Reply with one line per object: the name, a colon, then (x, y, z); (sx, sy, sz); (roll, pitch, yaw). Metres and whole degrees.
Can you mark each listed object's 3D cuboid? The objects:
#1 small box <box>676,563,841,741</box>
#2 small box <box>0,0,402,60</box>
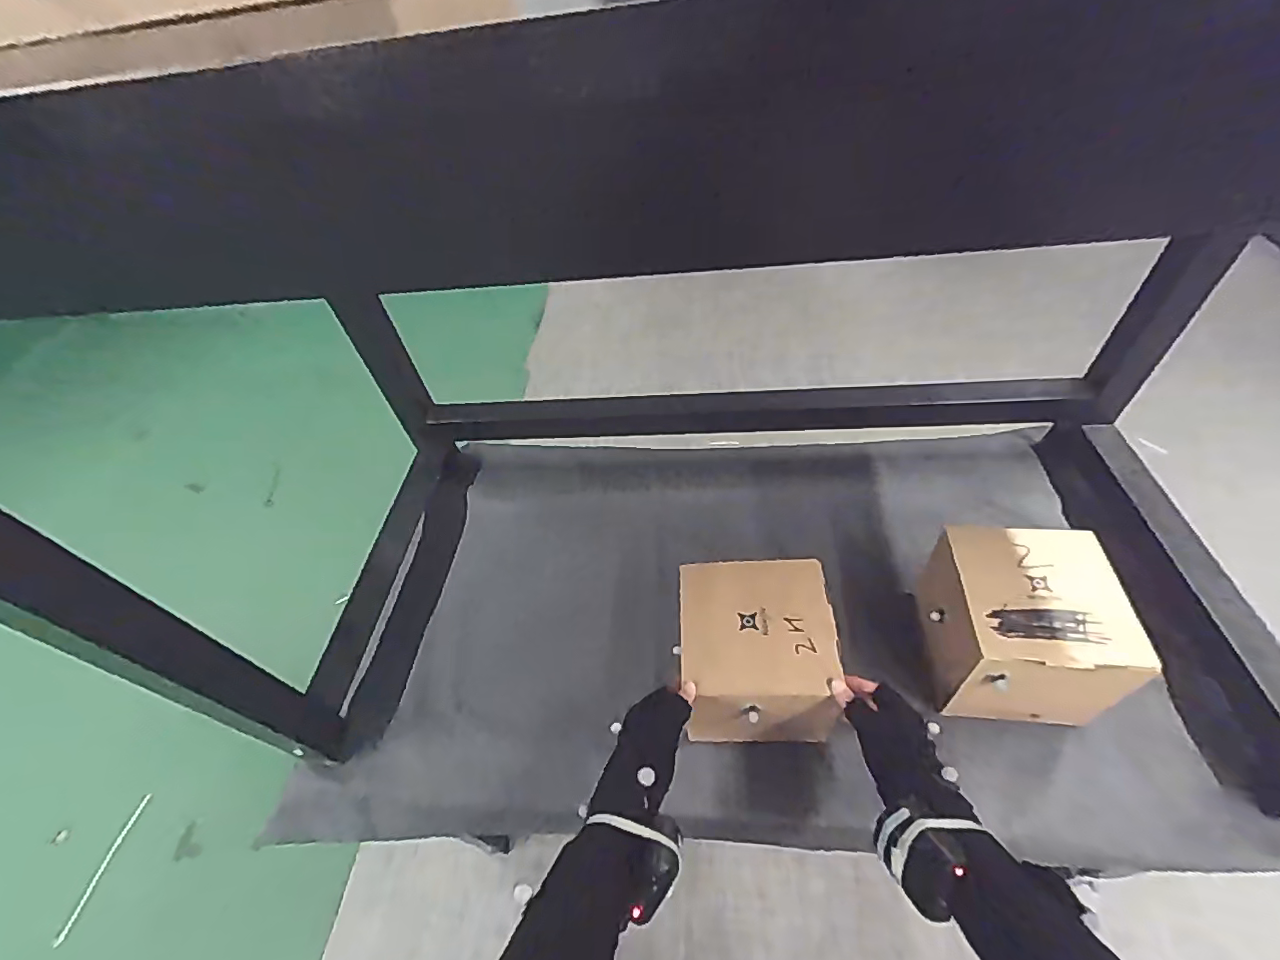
small box: (0.140, 0.221, 0.685); (0.179, 0.176, 0.168); (-3, 49, 7)
small box: (-0.171, -0.268, 0.186); (0.168, 0.176, 0.179); (-2, 48, 7)
